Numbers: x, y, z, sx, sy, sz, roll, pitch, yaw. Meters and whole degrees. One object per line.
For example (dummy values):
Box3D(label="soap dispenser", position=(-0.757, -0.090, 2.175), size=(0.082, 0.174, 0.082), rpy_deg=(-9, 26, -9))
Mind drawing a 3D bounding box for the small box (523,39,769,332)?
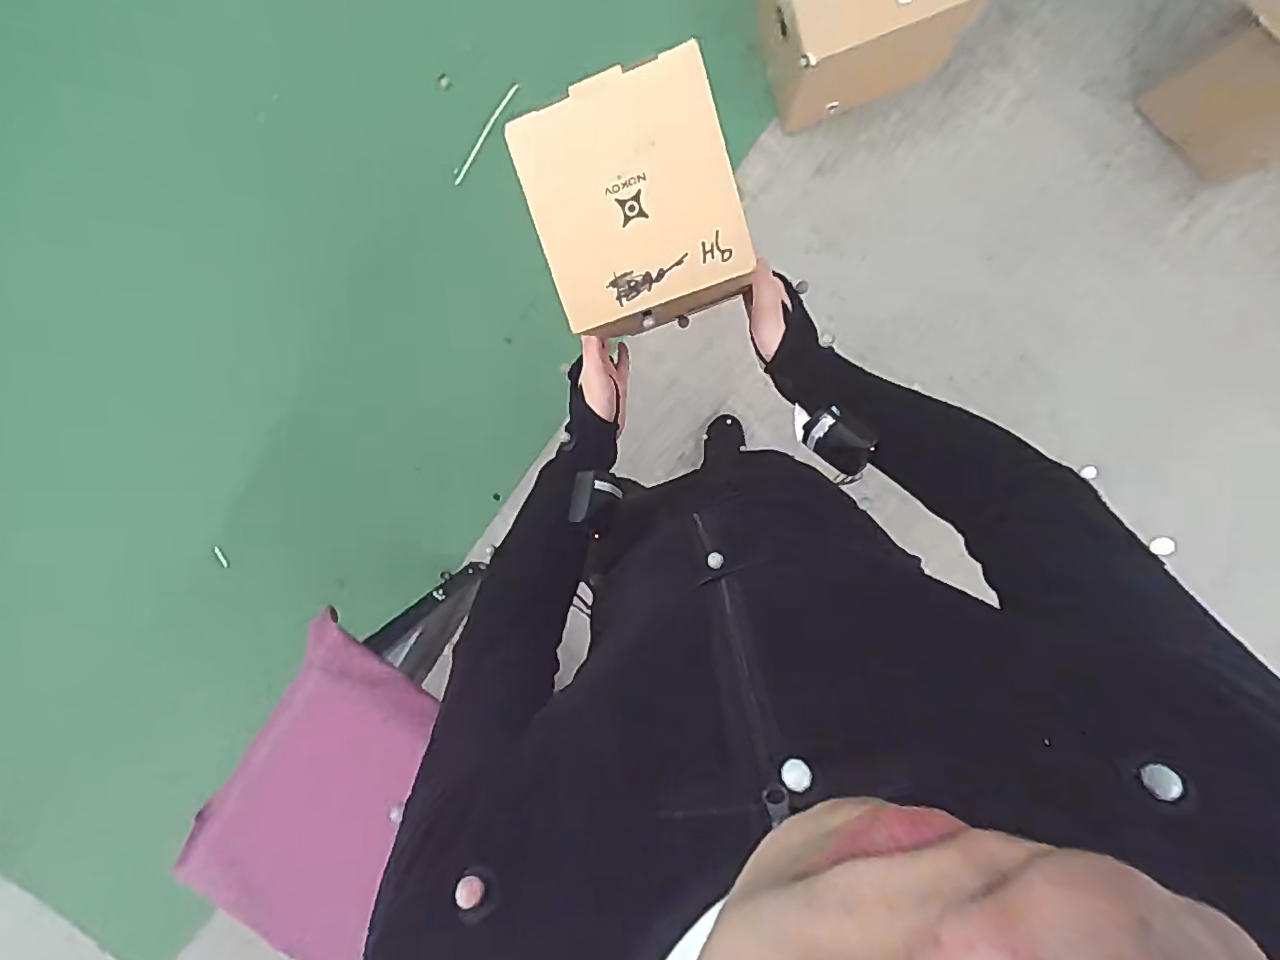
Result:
Box3D(label="small box", position=(0.015, -0.249, 0.512), size=(0.168, 0.176, 0.179), rpy_deg=(-15, 101, 12))
